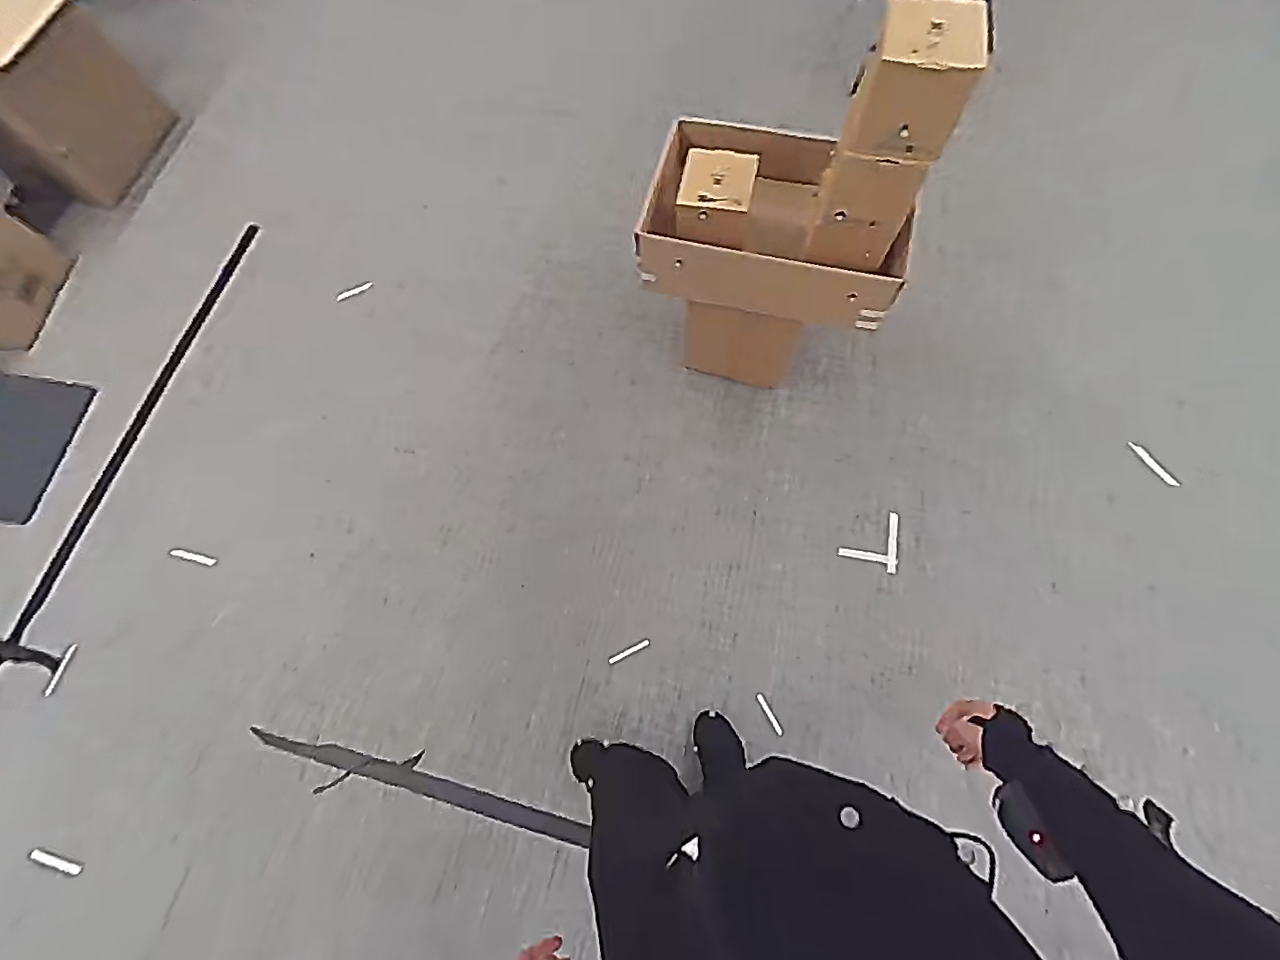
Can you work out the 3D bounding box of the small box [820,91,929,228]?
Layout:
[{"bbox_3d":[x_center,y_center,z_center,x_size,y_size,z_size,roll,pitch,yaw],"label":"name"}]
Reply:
[{"bbox_3d":[0.481,-0.654,1.116,0.168,0.176,0.179,11,71,6],"label":"small box"}]

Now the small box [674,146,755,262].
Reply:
[{"bbox_3d":[0.176,-0.666,1.313,0.168,0.176,0.179,10,71,8],"label":"small box"}]

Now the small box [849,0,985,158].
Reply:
[{"bbox_3d":[0.484,-0.718,0.964,0.168,0.176,0.179,10,72,6],"label":"small box"}]
